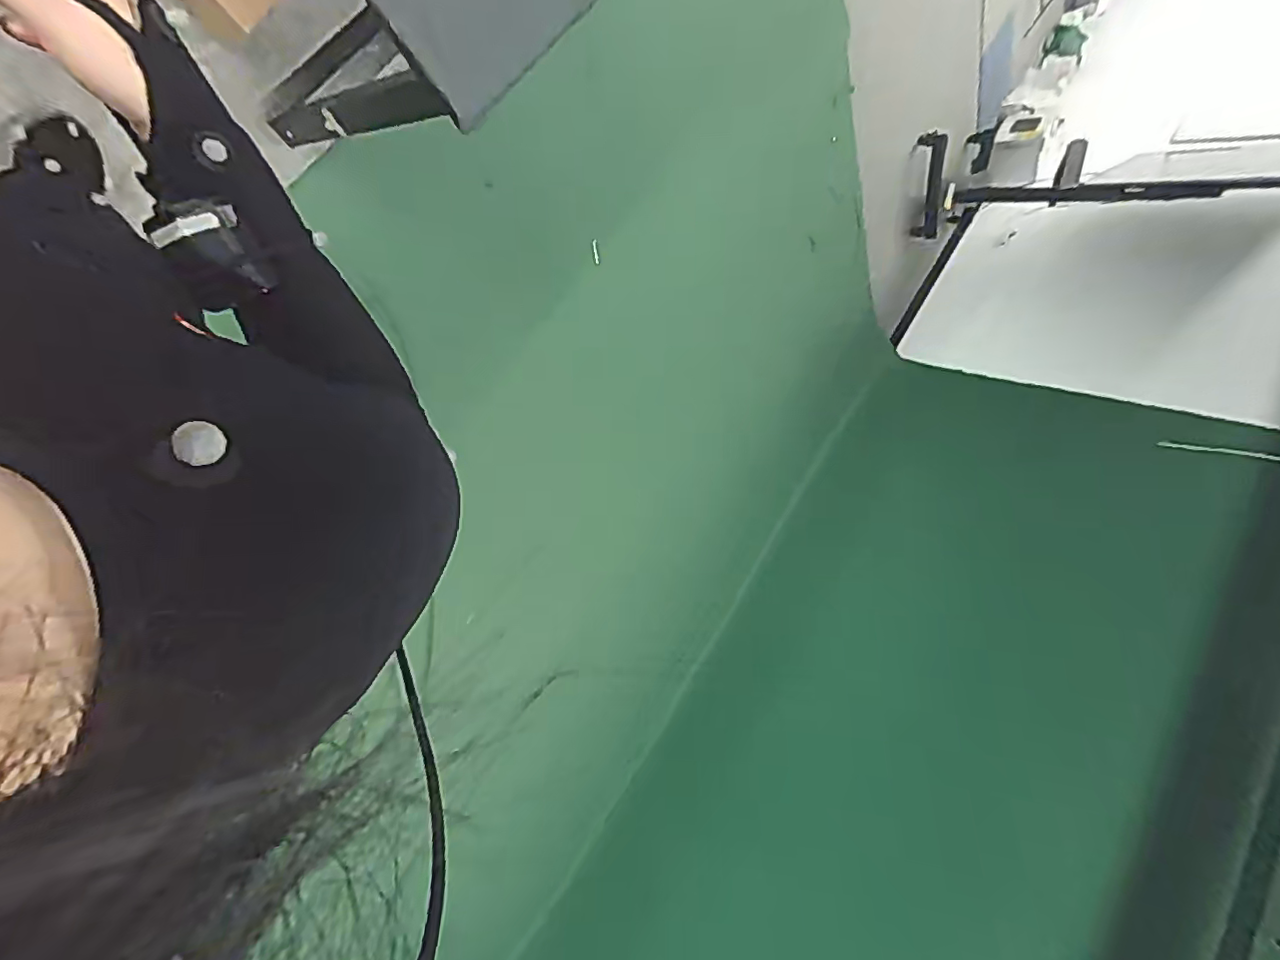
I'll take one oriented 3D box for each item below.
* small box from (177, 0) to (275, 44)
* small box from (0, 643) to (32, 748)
[{"bbox_3d":[-0.744,-0.913,0.946,0.179,0.176,0.168,-58,142,-10],"label":"small box"},{"bbox_3d":[-1.286,0.412,1.002,0.168,0.176,0.179,27,89,-52],"label":"small box"}]
